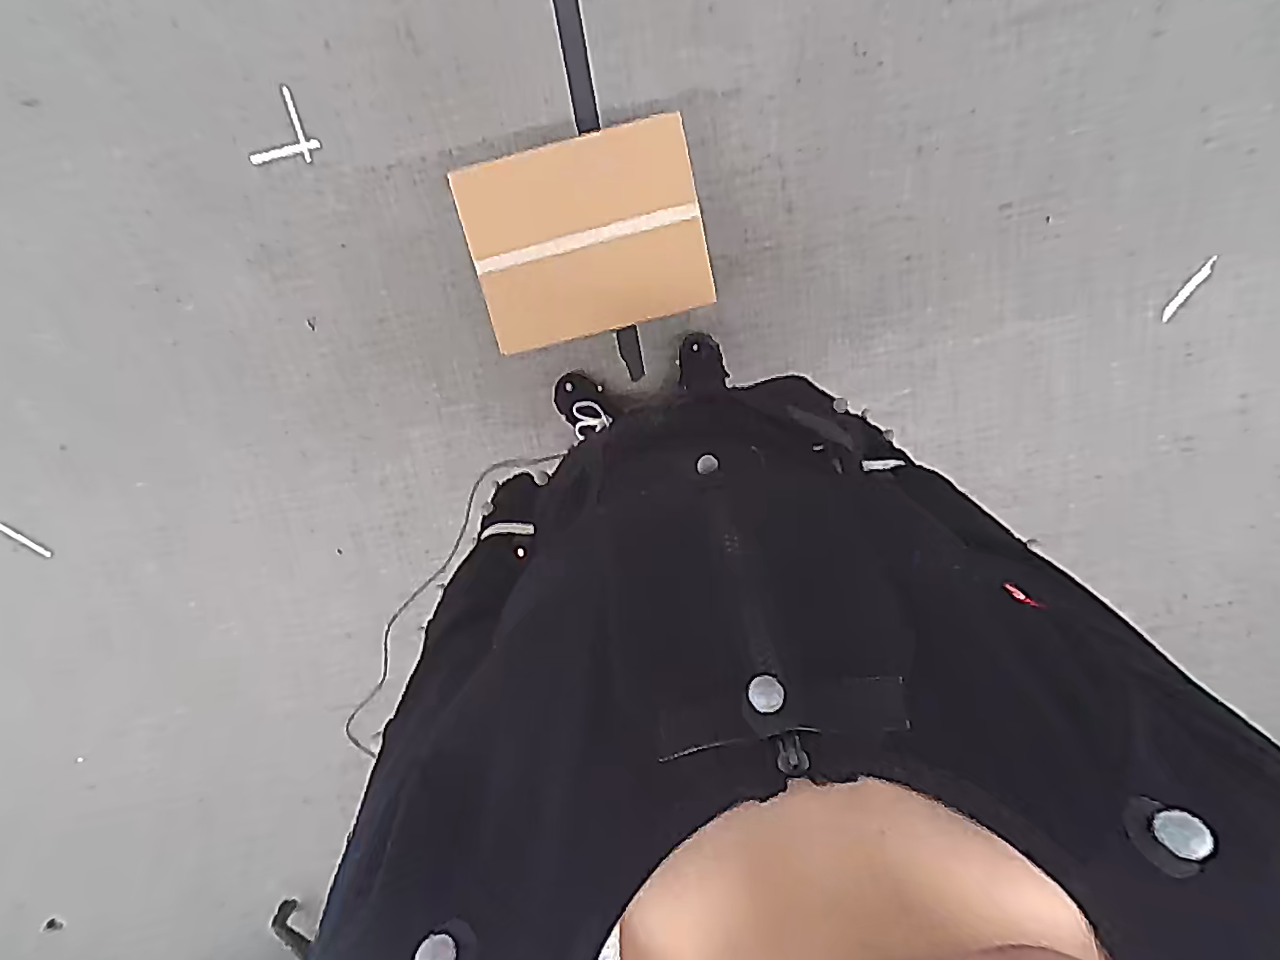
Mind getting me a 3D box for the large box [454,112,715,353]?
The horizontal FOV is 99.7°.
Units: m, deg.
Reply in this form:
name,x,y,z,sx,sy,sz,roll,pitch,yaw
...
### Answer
name,x,y,z,sx,sy,sz,roll,pitch,yaw
large box,-0.095,-0.463,1.091,0.408,0.320,0.320,-13,107,3
